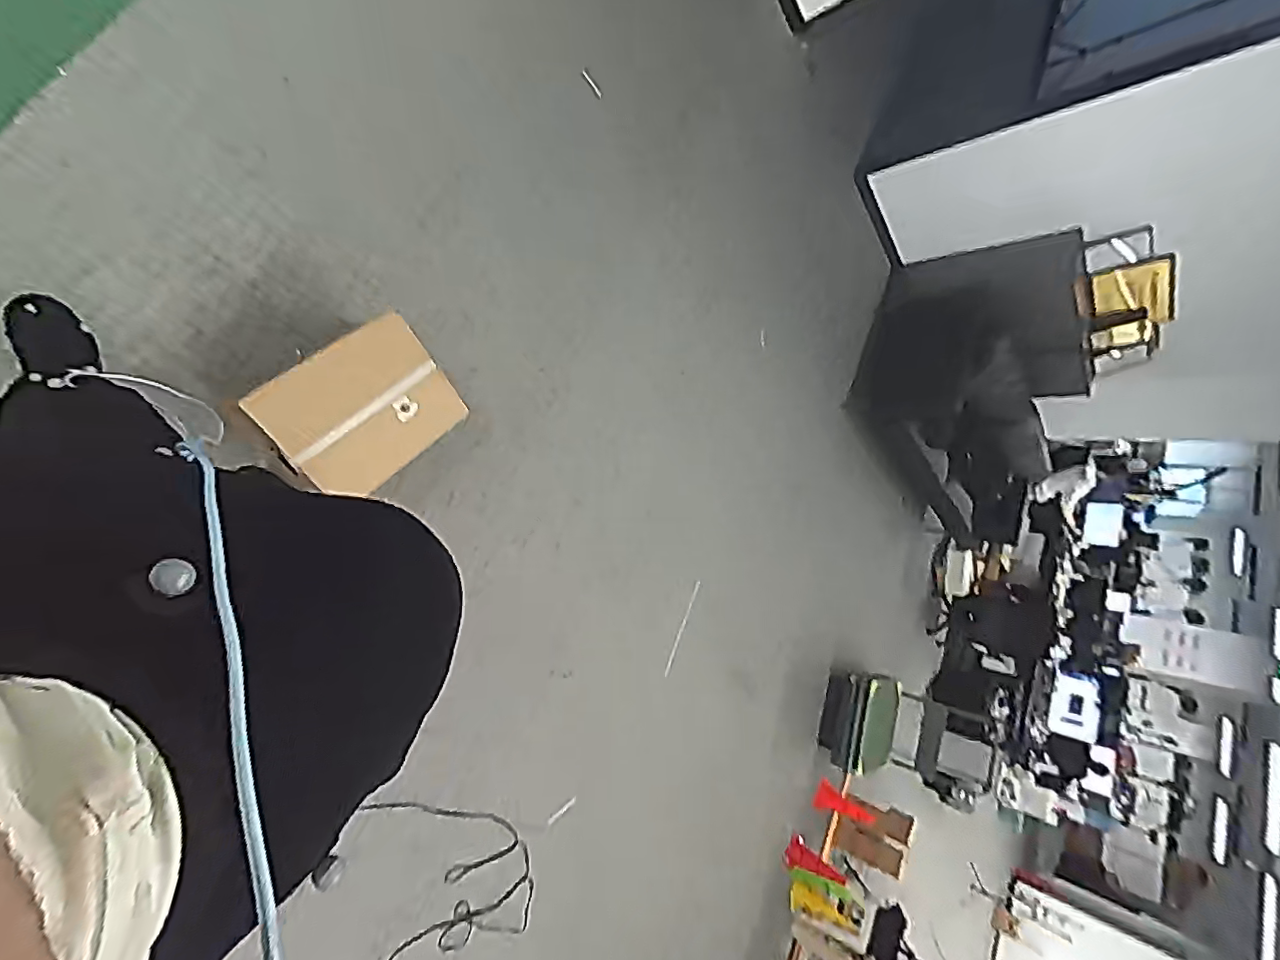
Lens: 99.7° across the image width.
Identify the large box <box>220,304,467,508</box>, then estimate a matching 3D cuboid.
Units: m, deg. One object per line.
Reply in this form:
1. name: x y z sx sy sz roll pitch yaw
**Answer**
1. large box: -0.738 -0.182 1.366 0.408 0.320 0.320 -49 125 -31
